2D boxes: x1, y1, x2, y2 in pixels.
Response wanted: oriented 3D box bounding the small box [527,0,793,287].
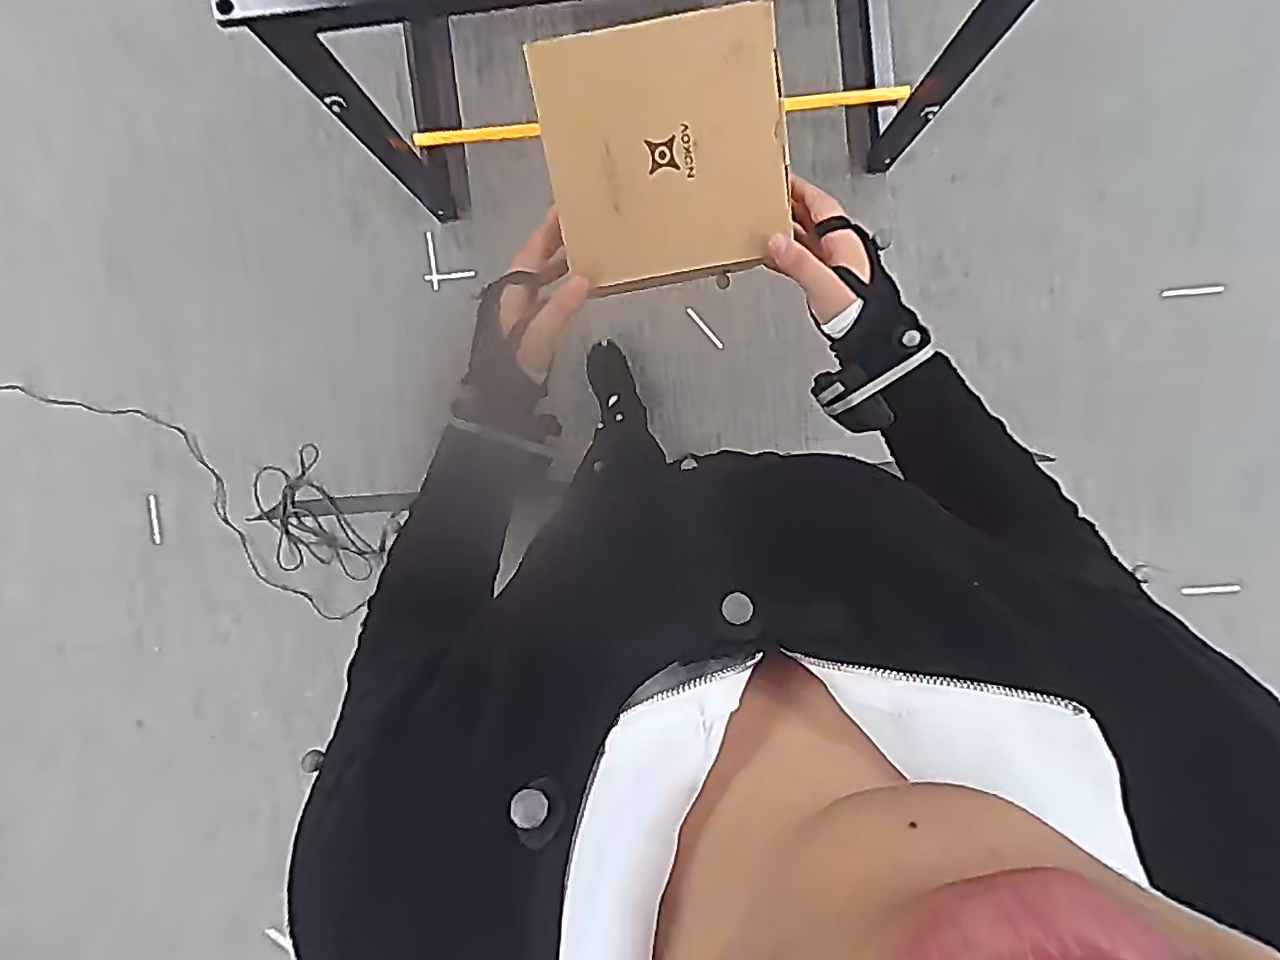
[{"bbox_3d":[0.016,-0.273,0.472,0.179,0.176,0.168,-11,106,2],"label":"small box"}]
